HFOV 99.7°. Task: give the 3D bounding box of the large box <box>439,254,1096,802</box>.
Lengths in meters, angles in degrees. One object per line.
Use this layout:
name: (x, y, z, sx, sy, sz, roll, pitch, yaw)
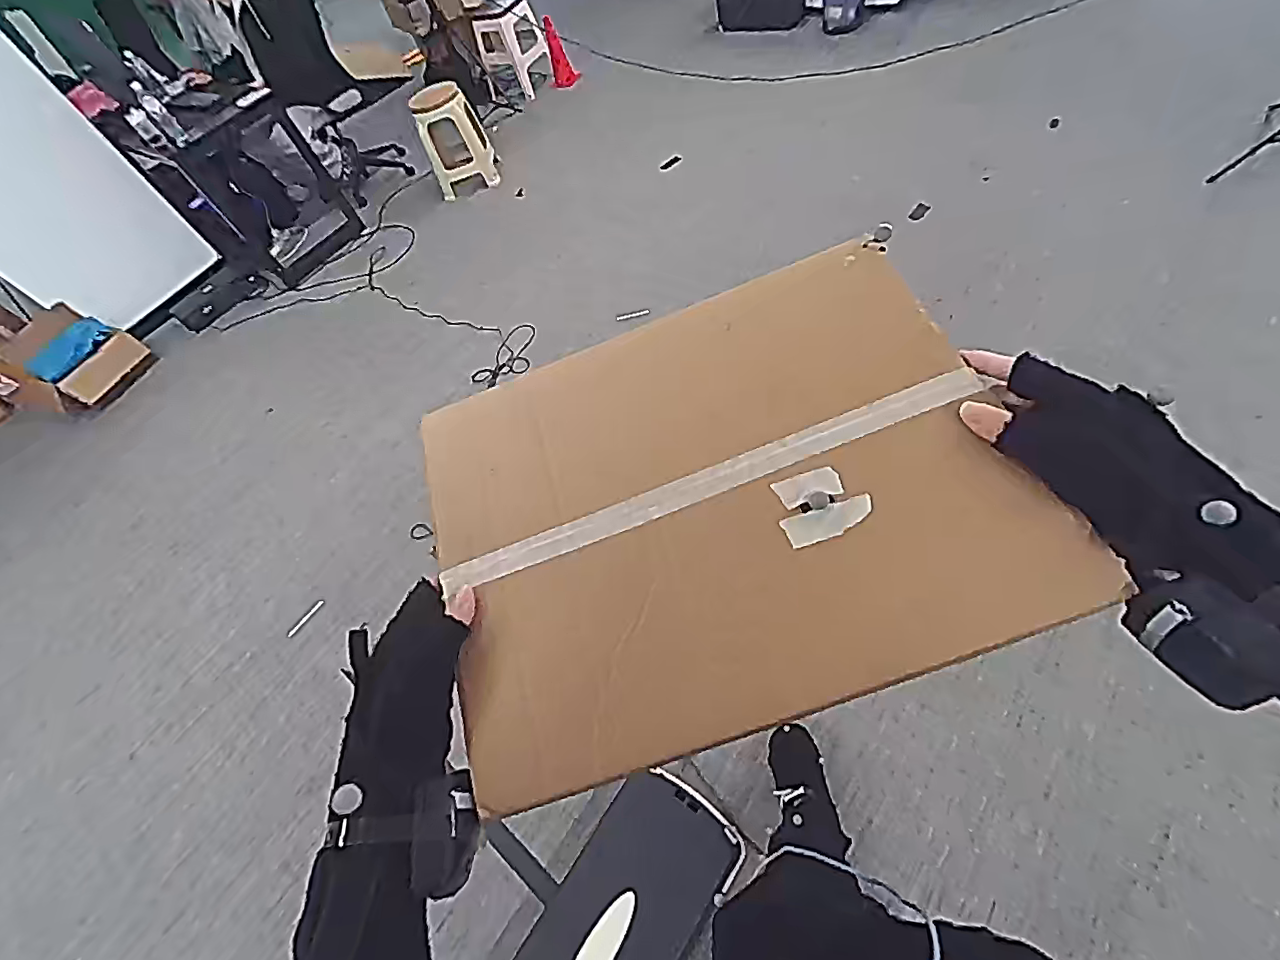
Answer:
large box: (0.079, 0.067, 0.534, 0.408, 0.320, 0.320, -21, 64, 3)
